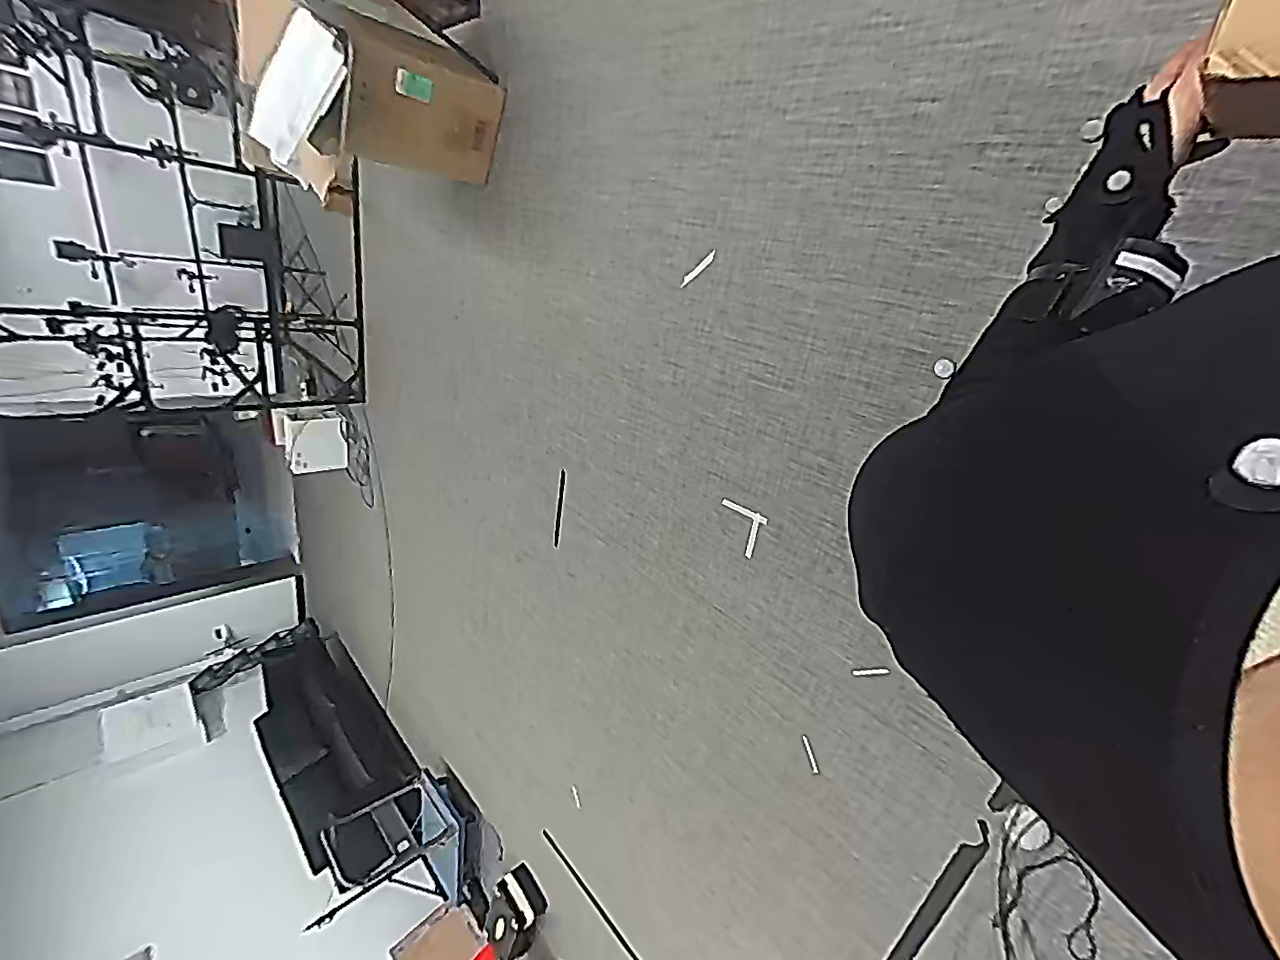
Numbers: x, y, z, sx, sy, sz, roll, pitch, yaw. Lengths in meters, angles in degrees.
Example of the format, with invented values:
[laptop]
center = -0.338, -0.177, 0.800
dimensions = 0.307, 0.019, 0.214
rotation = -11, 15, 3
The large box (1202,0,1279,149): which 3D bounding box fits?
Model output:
[large box]
center = 0.481, -0.285, 0.138
dimensions = 0.408, 0.320, 0.320
rotation = 24, 126, 37
